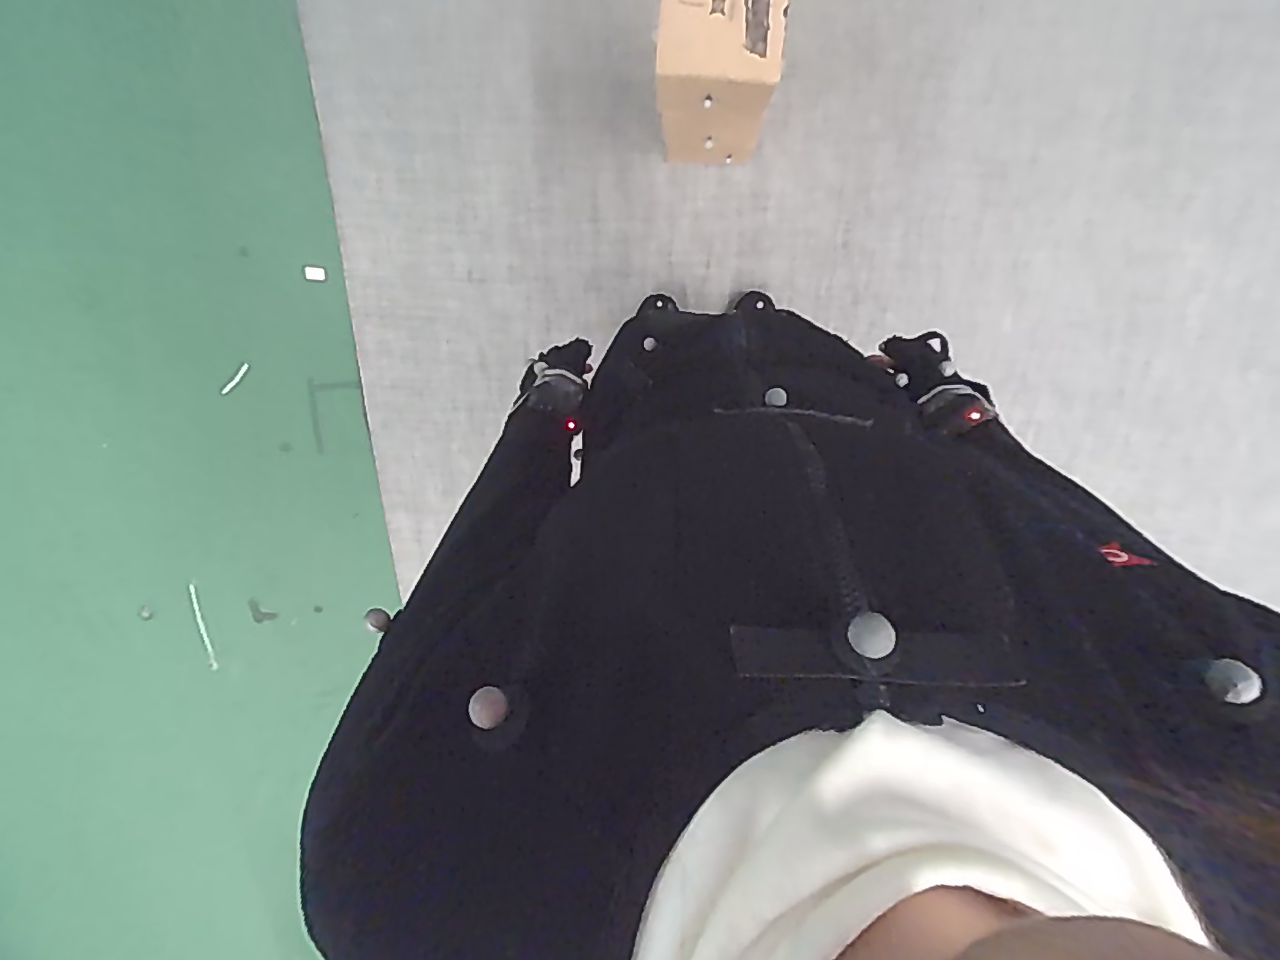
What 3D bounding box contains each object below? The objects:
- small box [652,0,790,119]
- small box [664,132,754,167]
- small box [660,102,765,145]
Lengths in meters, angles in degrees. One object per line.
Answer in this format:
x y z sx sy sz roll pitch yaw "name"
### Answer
0.117 -0.660 0.804 0.179 0.176 0.168 7 109 3 "small box"
0.142 -0.760 1.116 0.179 0.176 0.168 3 108 4 "small box"
0.129 -0.711 0.960 0.179 0.176 0.168 4 109 1 "small box"
